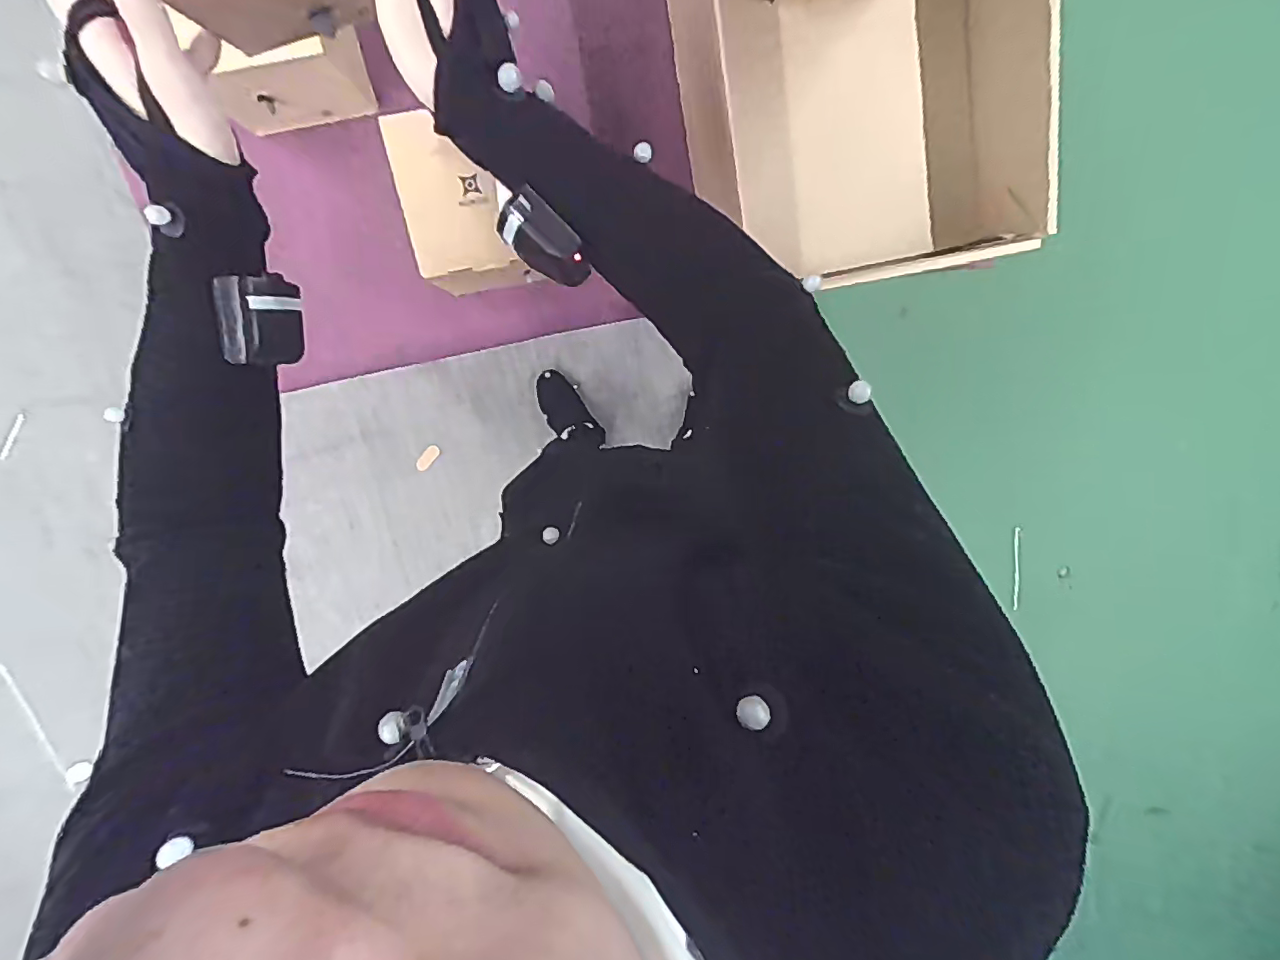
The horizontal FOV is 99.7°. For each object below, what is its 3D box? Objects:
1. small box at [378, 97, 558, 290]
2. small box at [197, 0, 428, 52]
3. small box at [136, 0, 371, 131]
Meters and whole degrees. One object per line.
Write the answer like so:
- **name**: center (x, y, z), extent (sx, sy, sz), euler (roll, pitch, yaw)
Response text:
- **small box**: center (-0.204, -0.350, 0.698), extent (0.168, 0.176, 0.179), euler (-12, 103, -4)
- **small box**: center (-0.250, -0.416, 0.340), extent (0.168, 0.176, 0.179), euler (-21, 119, -3)
- **small box**: center (-0.444, -0.536, 0.628), extent (0.168, 0.176, 0.179), euler (-13, 104, -3)
